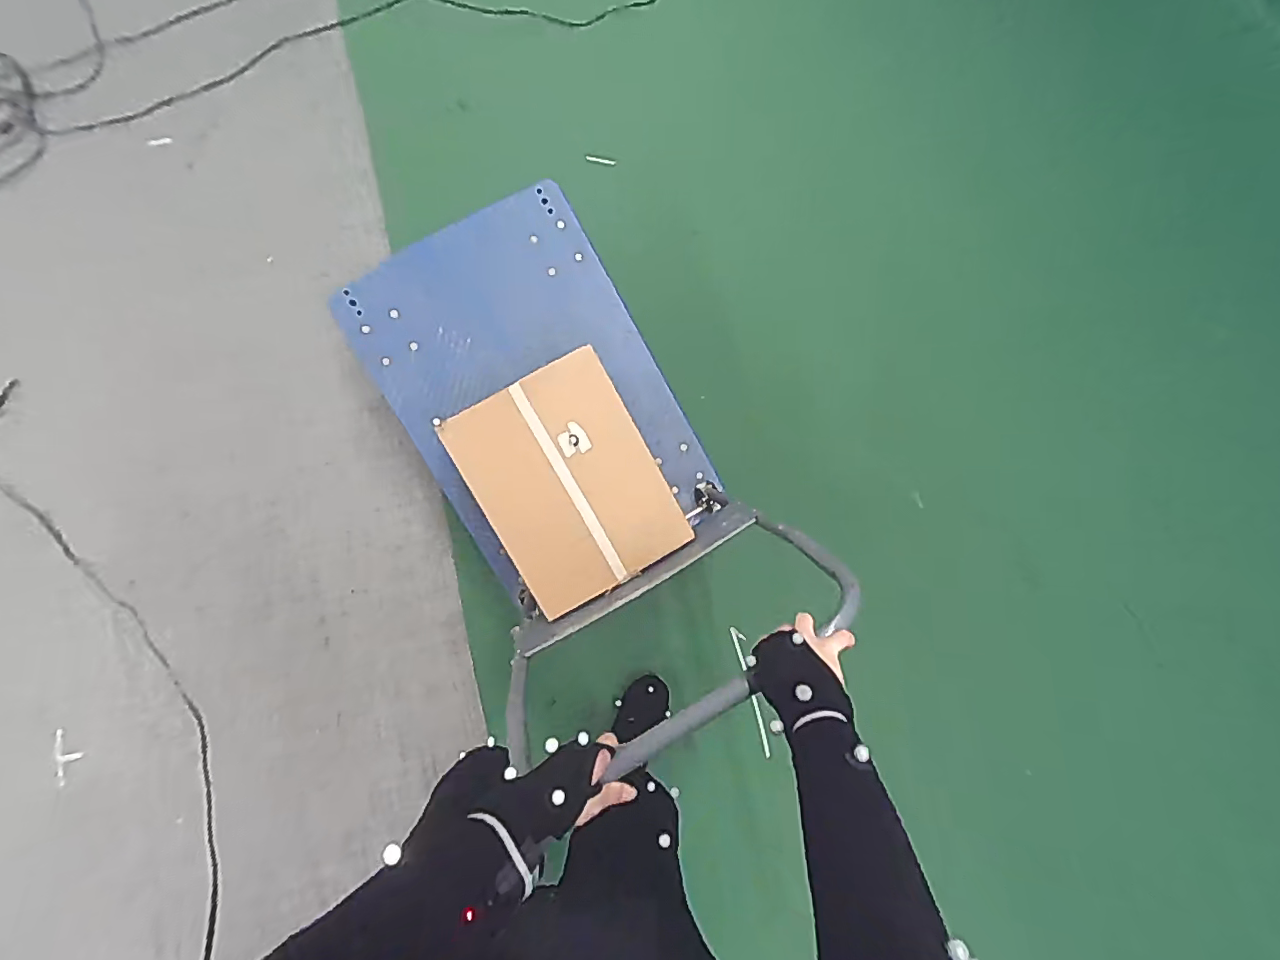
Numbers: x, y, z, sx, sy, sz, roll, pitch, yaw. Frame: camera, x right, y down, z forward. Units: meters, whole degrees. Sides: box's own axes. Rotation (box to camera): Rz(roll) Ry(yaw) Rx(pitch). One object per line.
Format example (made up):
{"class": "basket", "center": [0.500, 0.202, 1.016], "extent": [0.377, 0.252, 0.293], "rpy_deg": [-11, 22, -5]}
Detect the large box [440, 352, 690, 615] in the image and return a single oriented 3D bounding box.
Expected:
{"class": "large box", "center": [-0.145, 0.003, 1.142], "extent": [0.320, 0.320, 0.408], "rpy_deg": [-30, 95, -5]}
